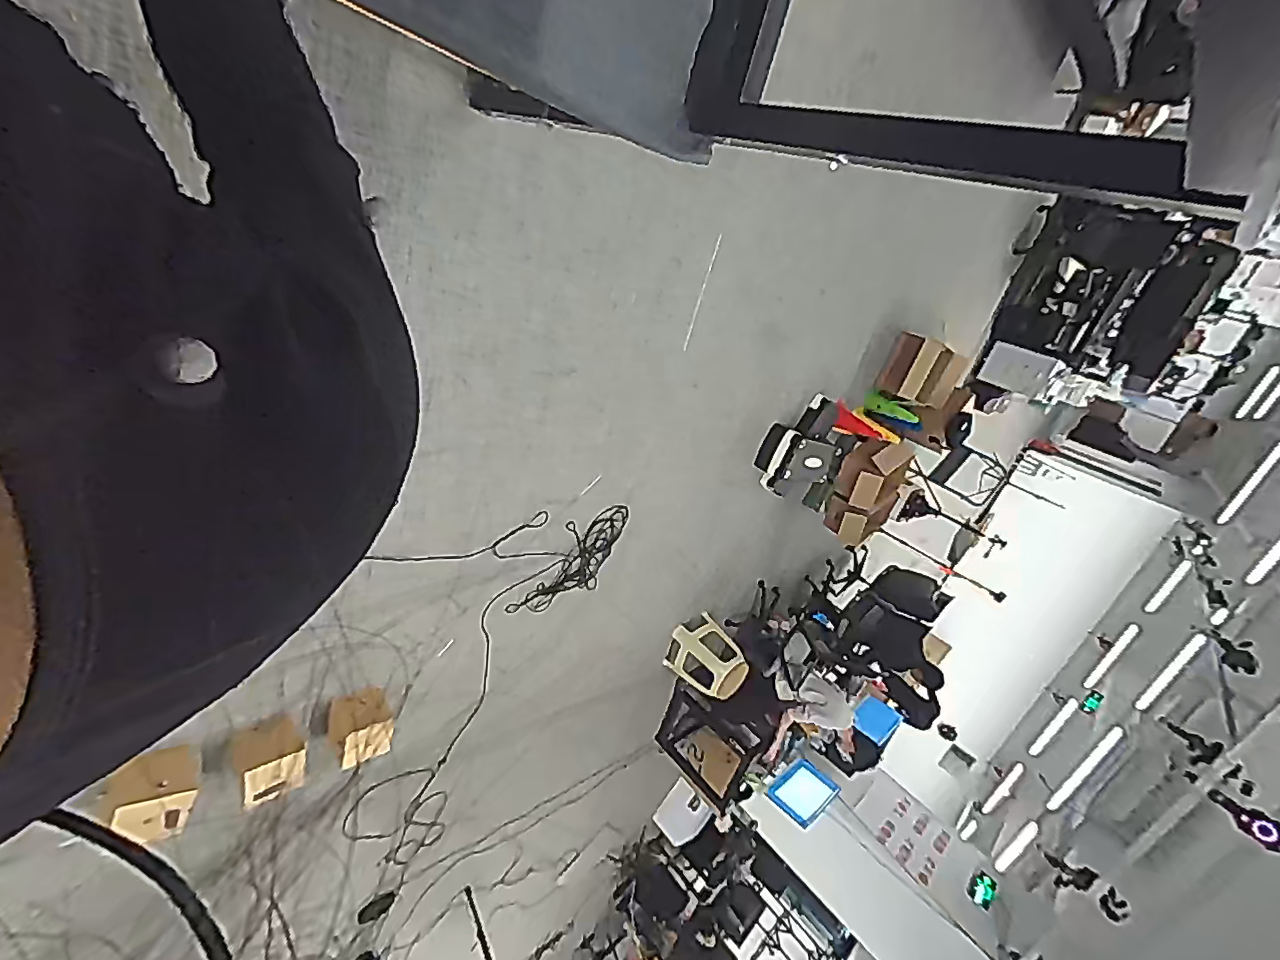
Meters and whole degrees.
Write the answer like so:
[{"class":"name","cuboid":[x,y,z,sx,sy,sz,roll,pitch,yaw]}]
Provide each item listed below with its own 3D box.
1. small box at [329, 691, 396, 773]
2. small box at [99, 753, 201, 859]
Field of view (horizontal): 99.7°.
[{"class":"small box","cuboid":[-1.007,0.904,1.953,0.168,0.176,0.179,-7,122,-46]},{"class":"small box","cuboid":[-1.381,0.905,1.522,0.179,0.176,0.168,14,106,-51]}]
